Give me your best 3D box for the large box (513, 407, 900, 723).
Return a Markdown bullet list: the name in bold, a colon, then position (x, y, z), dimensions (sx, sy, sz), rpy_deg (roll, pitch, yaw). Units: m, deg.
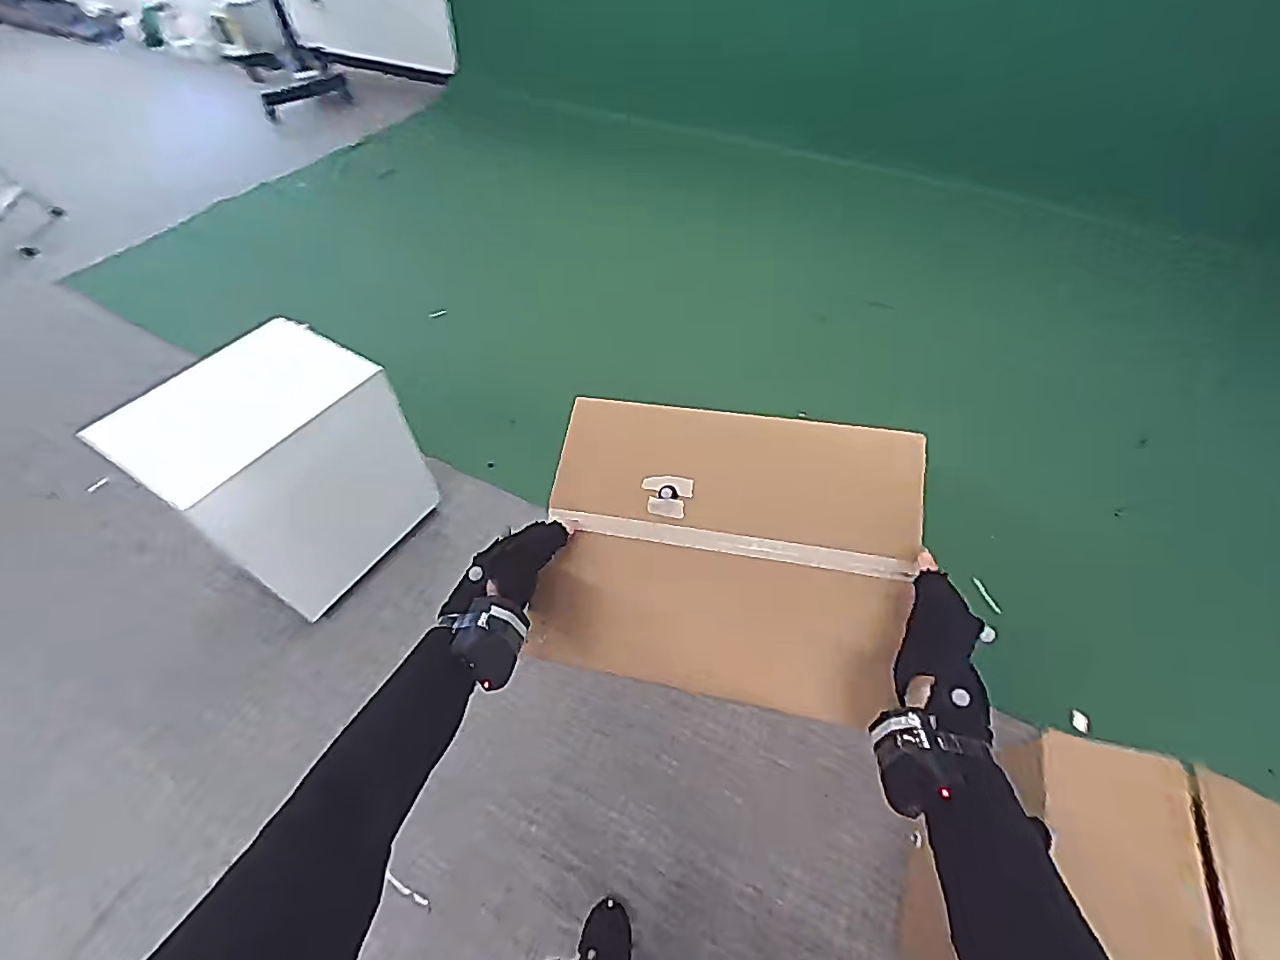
- **large box**: position (0.102, 0.113, 0.737), dimensions (0.408, 0.320, 0.320), rpy_deg (6, 74, 13)
